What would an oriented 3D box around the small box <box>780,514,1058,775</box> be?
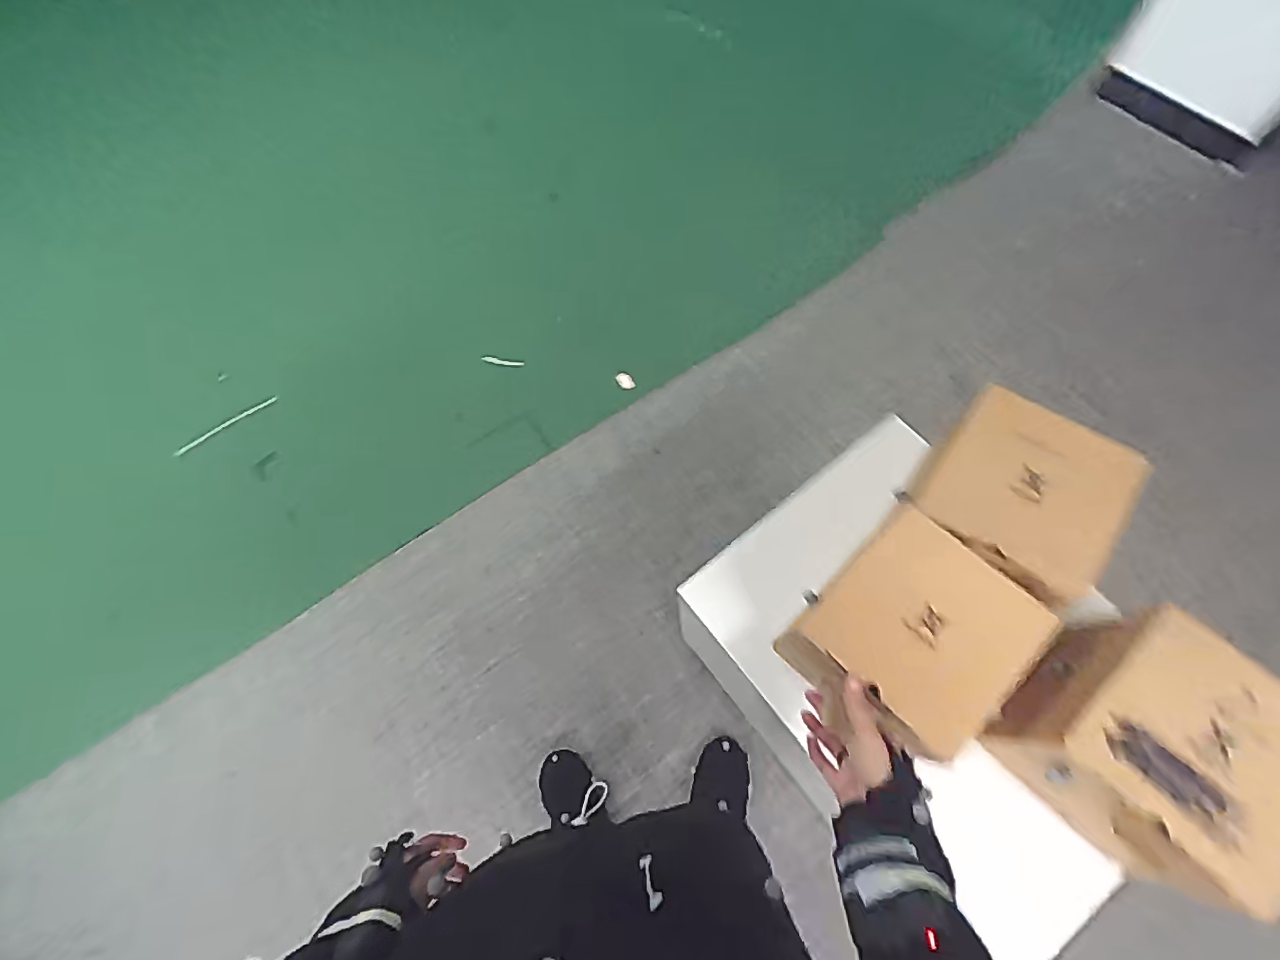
[{"bbox_3d":[0.271,0.171,0.571,0.179,0.176,0.168,-43,71,-13],"label":"small box"}]
